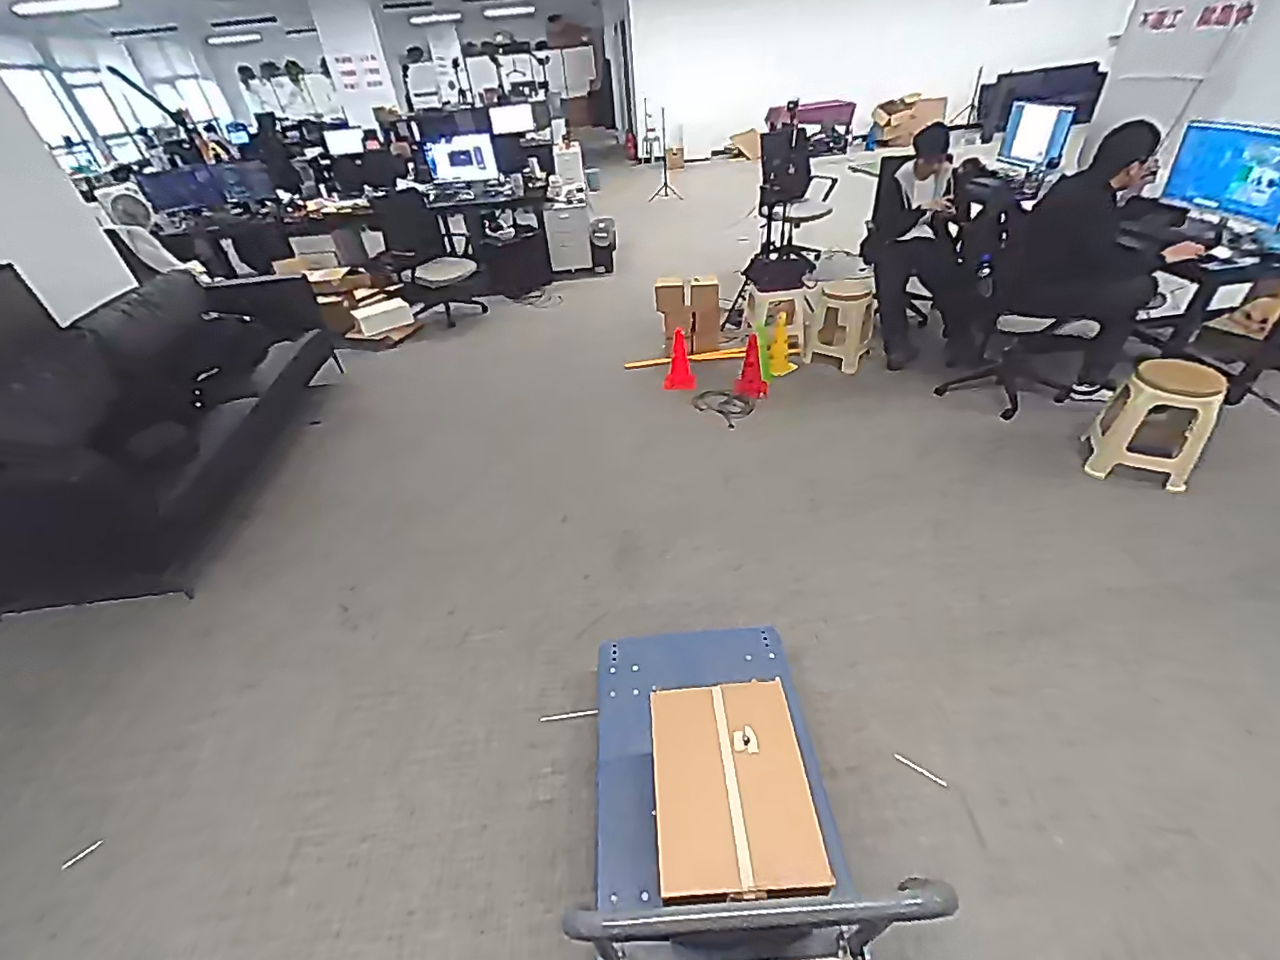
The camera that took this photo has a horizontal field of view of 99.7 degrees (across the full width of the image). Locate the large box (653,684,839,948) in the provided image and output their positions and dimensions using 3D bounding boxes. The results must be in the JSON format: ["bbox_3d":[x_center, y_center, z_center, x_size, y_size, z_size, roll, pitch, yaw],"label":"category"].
[{"bbox_3d":[0.205,0.729,1.197,0.320,0.320,0.408,-5,37,1],"label":"large box"}]
